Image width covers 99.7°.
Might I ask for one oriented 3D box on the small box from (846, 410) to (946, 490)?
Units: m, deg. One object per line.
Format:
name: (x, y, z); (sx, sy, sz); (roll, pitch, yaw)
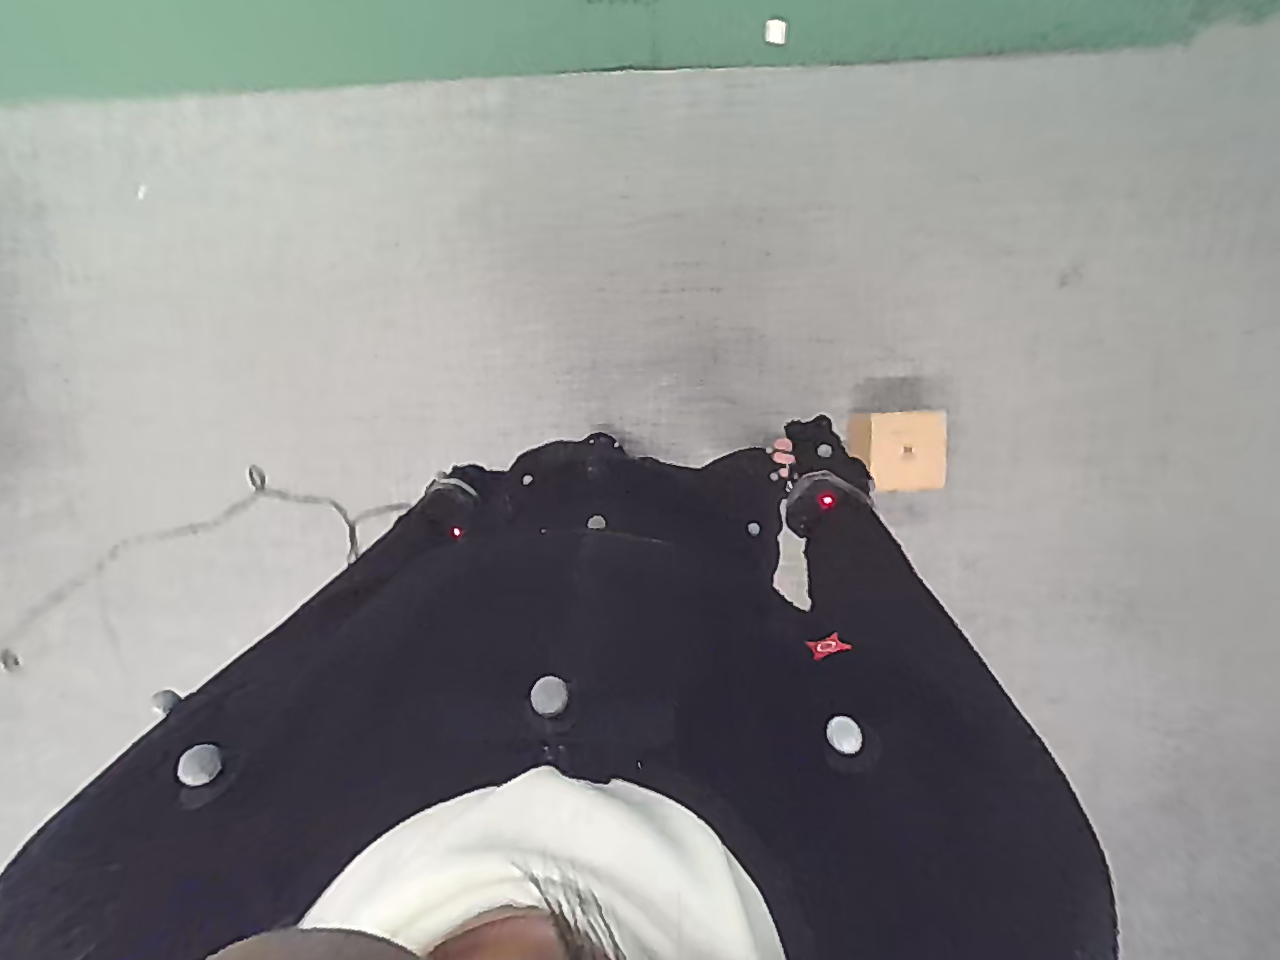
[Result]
small box: (0.599, -0.076, 1.284); (0.168, 0.176, 0.179); (-2, 96, 3)
